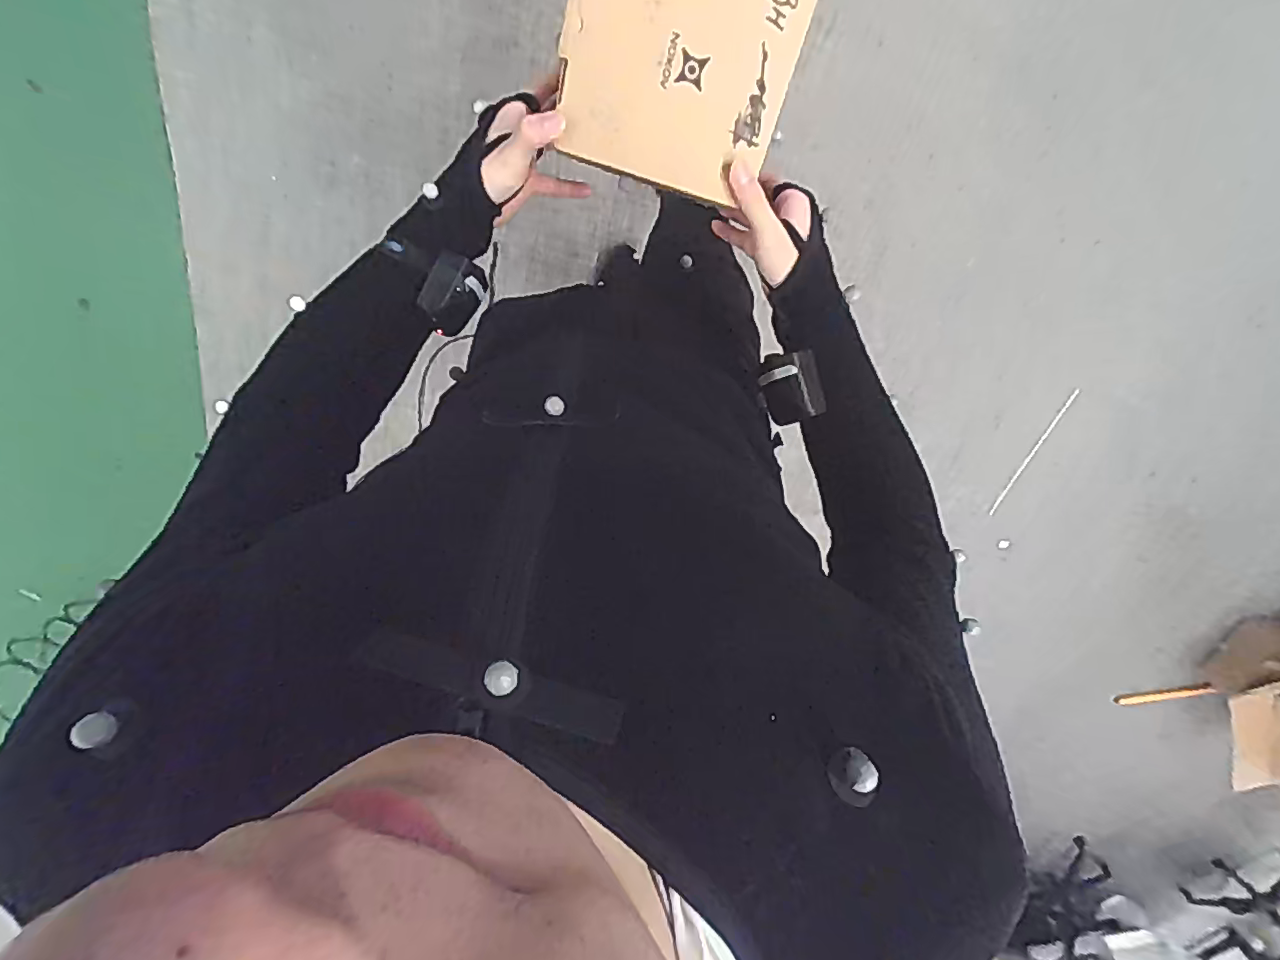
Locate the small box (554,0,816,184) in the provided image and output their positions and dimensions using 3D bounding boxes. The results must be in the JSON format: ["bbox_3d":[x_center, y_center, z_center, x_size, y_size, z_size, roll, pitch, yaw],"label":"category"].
[{"bbox_3d":[0.031,-0.375,0.479,0.179,0.176,0.168,13,117,-11],"label":"small box"}]
